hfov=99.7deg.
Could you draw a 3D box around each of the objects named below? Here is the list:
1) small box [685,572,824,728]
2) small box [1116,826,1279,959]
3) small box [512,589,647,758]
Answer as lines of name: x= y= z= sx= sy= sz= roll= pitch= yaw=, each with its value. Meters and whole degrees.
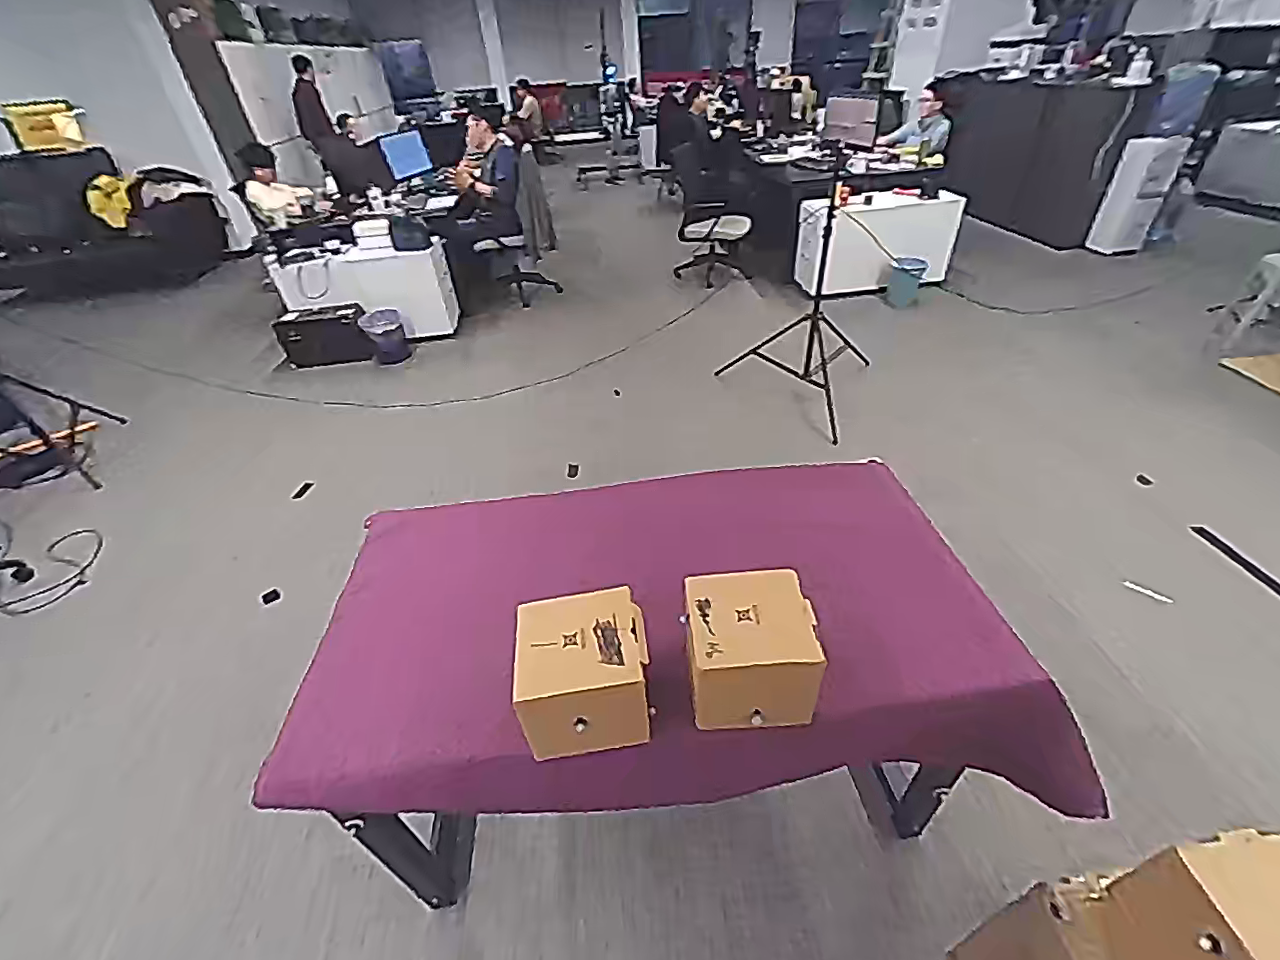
small box: x=0.164 y=0.263 z=0.837 sx=0.179 sy=0.176 sz=0.168 roll=-4 pitch=37 yaw=0
small box: x=0.708 y=0.524 z=0.611 sx=0.168 sy=0.176 sz=0.179 roll=-8 pitch=40 yaw=0
small box: x=-0.085 y=0.294 z=0.822 sx=0.179 sy=0.176 sz=0.168 roll=-8 pitch=37 yaw=-3
